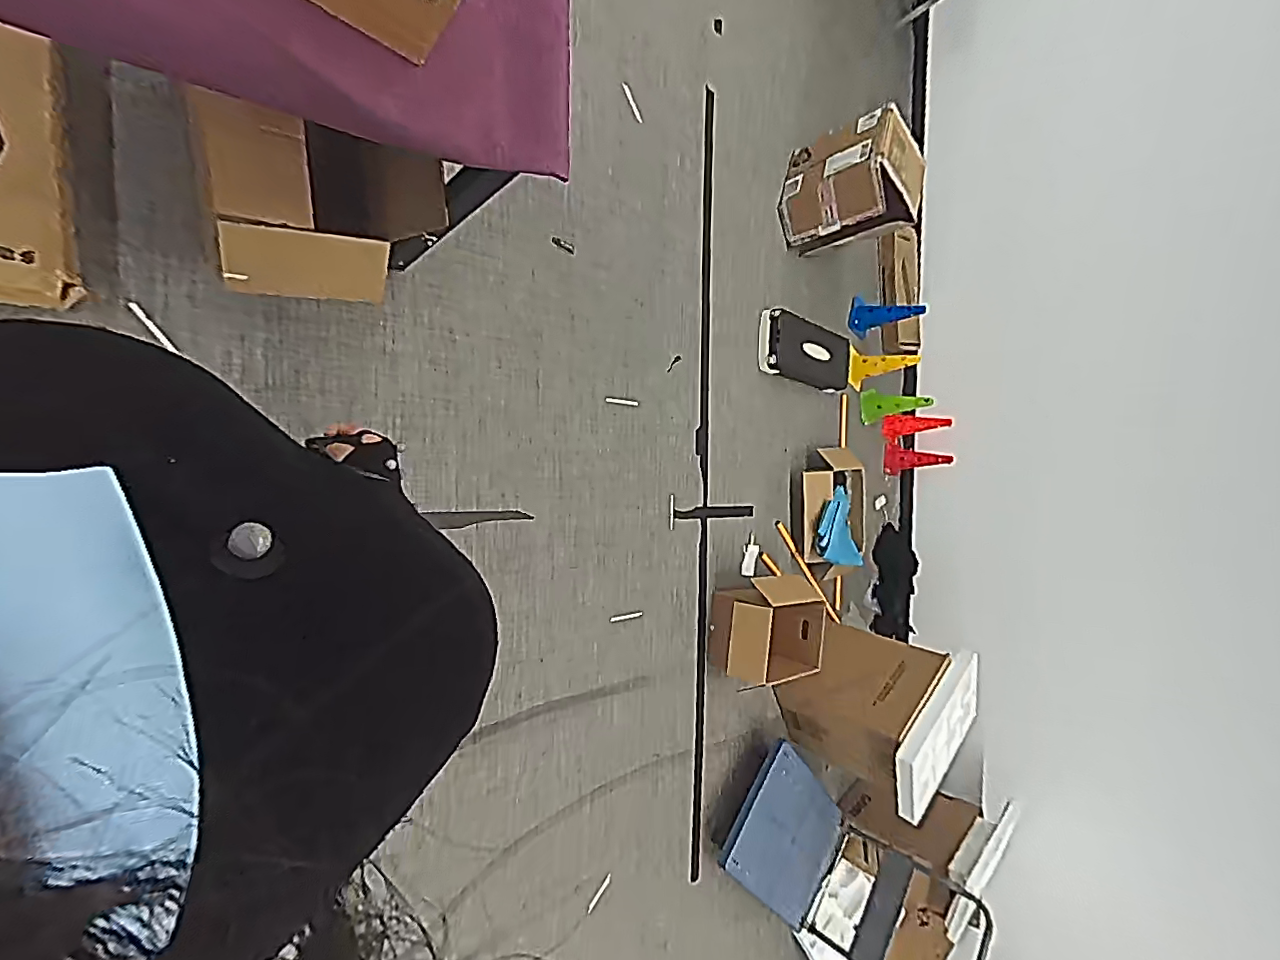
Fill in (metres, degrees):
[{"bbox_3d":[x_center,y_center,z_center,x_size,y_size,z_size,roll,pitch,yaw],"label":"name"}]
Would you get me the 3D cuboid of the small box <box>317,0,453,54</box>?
[{"bbox_3d":[-0.315,-0.676,0.653,0.179,0.176,0.168,7,87,-42],"label":"small box"}]
